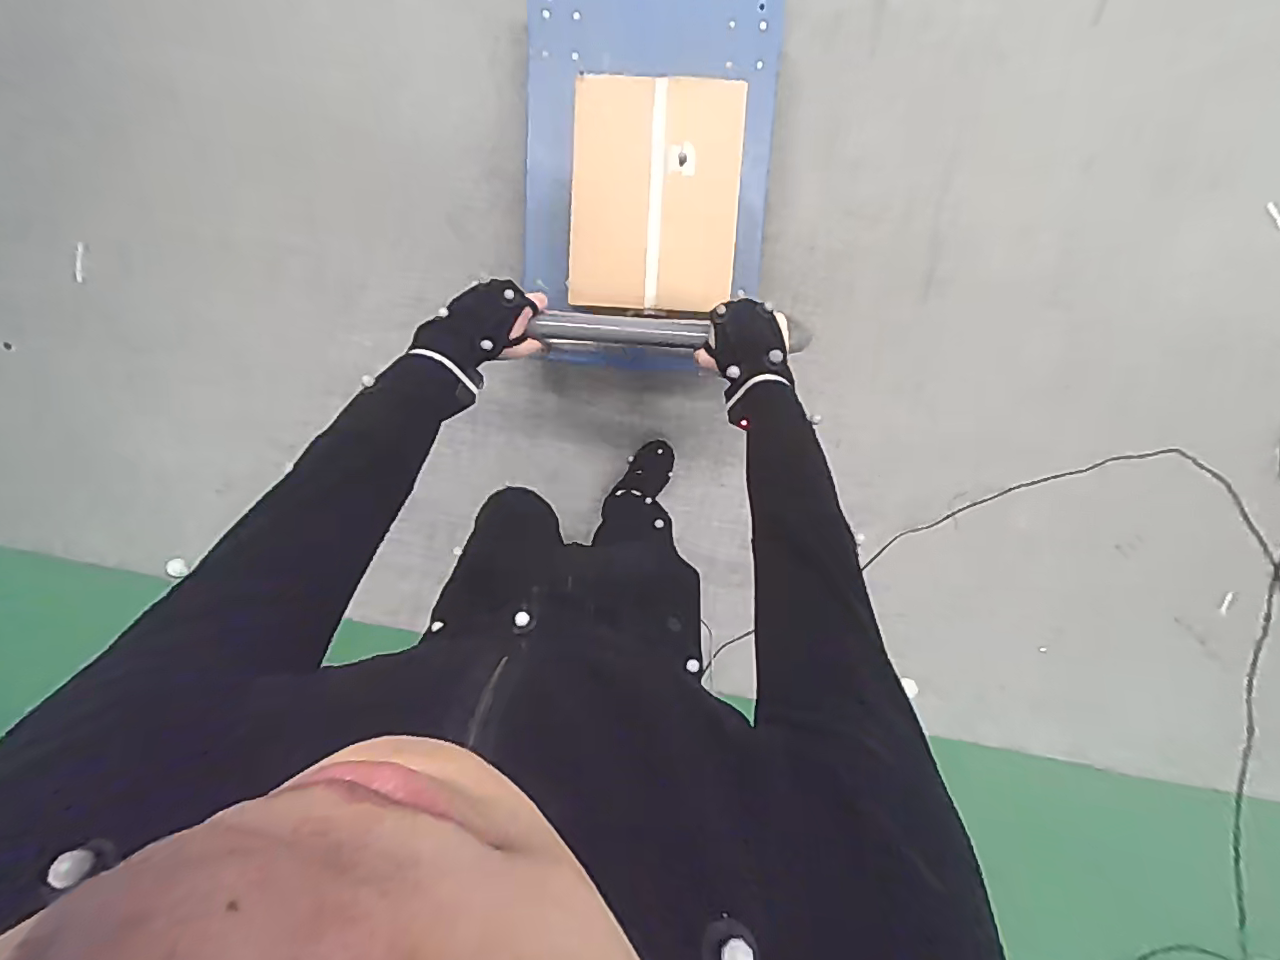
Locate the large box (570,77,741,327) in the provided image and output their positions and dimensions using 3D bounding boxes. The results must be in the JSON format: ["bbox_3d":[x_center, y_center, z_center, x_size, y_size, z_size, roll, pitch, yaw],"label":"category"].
[{"bbox_3d":[0.029,-0.554,1.160,0.320,0.320,0.408,3,98,0],"label":"large box"}]
